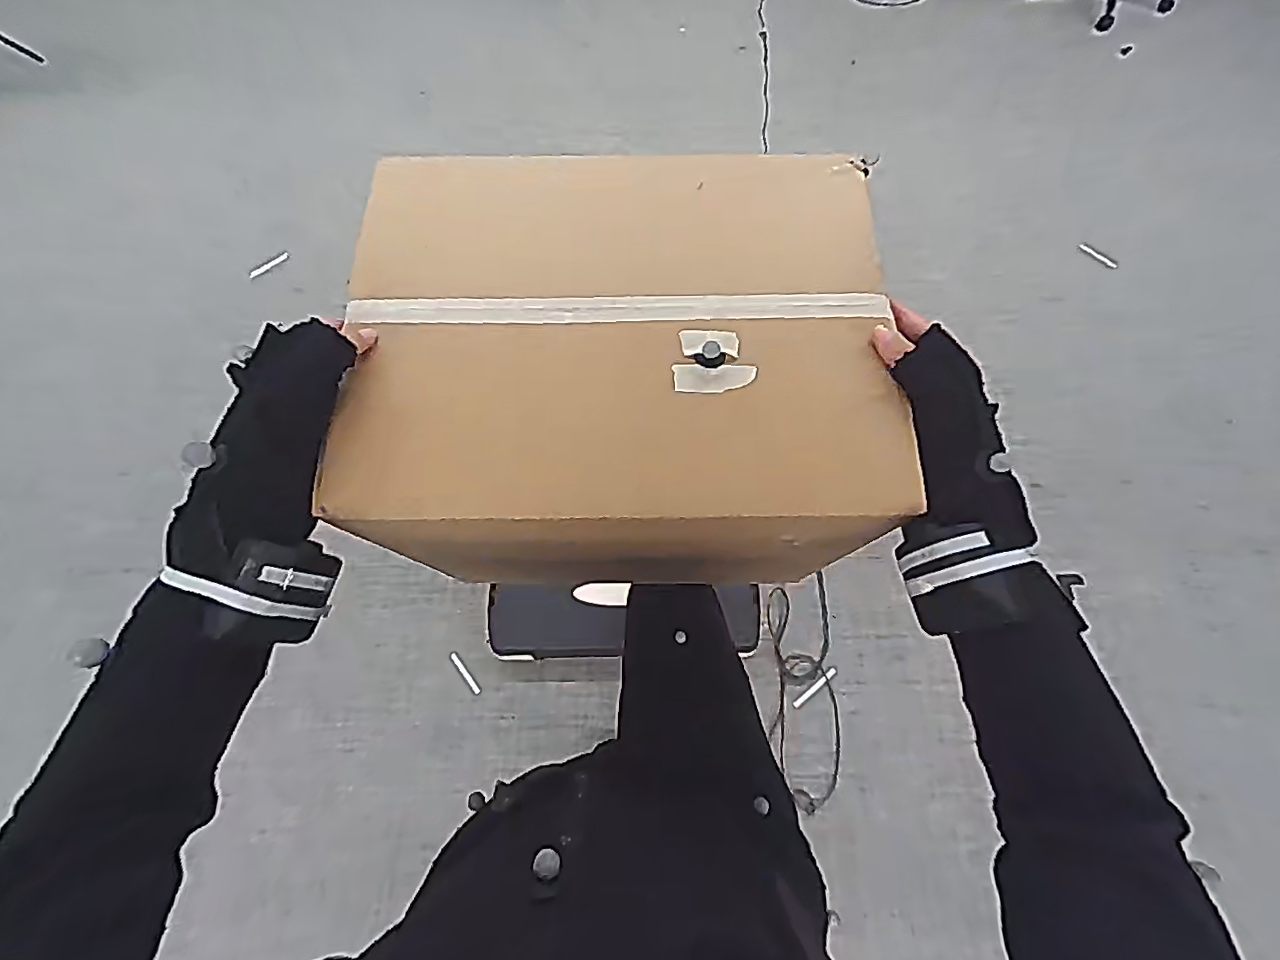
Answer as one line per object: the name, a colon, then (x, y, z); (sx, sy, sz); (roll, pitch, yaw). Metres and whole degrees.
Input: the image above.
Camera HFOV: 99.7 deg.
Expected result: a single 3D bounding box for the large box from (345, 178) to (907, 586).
large box: (-0.013, -0.070, 0.566); (0.408, 0.320, 0.320); (0, 71, 0)
